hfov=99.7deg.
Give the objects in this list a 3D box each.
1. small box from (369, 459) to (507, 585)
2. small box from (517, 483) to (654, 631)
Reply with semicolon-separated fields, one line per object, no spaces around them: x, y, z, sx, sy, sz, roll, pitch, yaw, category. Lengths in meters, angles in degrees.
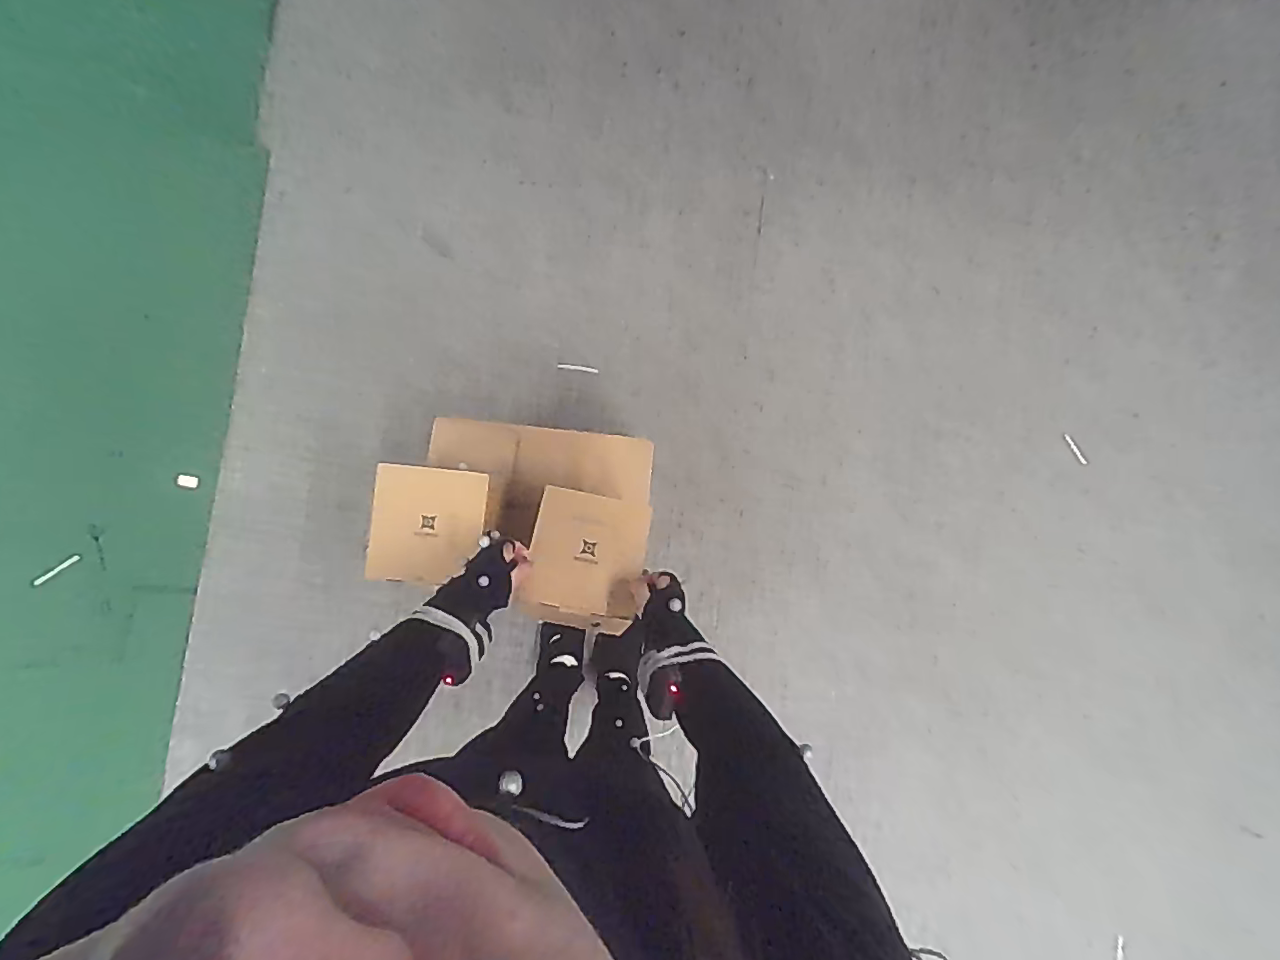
-0.319;0.065;0.889;0.168;0.176;0.179;6;89;-4;small box
-0.084;0.130;0.843;0.168;0.176;0.179;13;67;-4;small box
